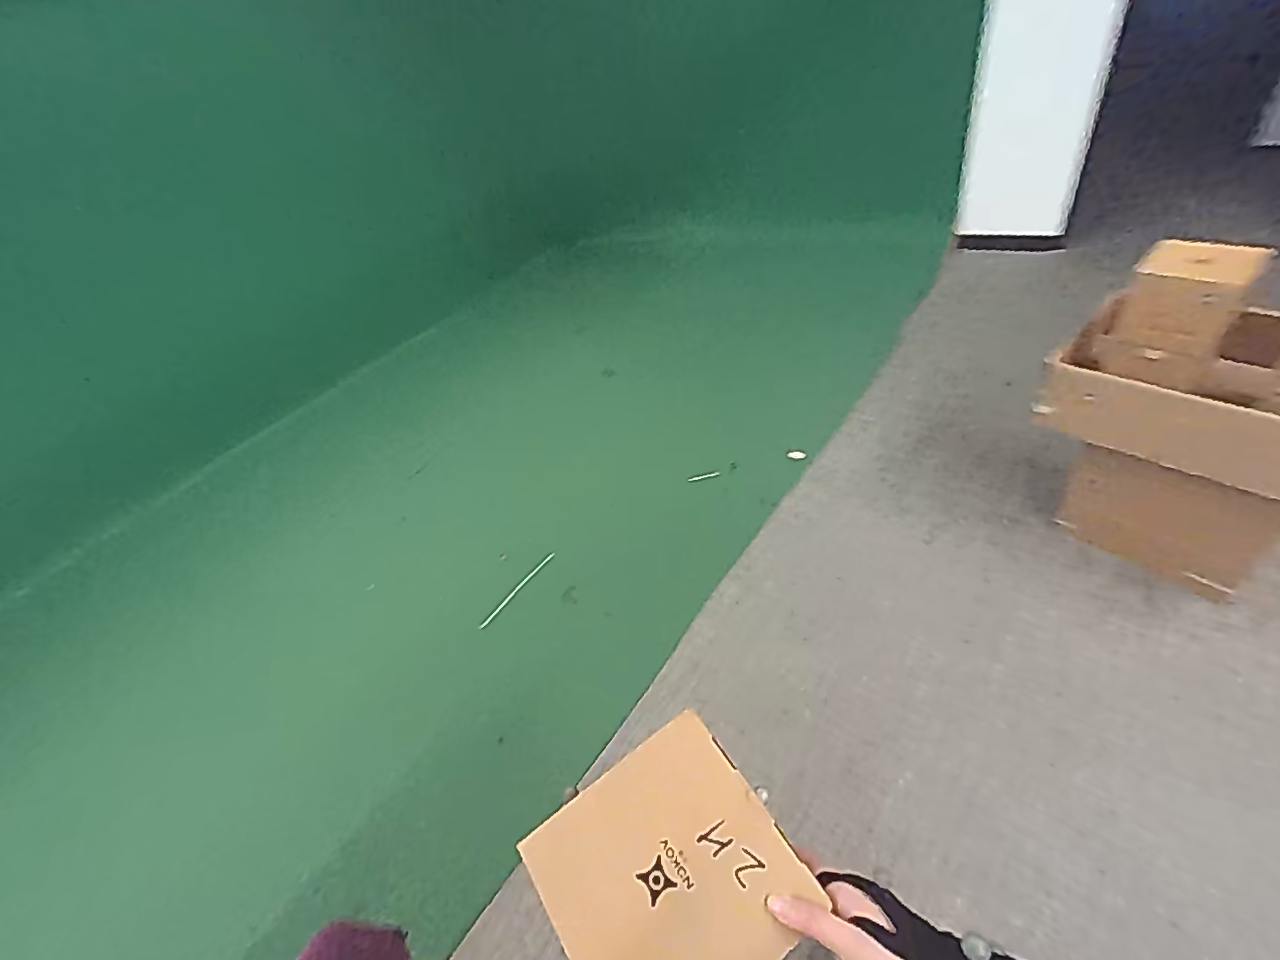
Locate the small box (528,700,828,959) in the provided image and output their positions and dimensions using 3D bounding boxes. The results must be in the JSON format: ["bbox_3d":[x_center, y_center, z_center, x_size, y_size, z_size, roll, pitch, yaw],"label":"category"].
[{"bbox_3d":[0.036,0.328,0.472,0.179,0.176,0.168,-33,59,-10],"label":"small box"}]

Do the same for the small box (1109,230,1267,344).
[{"bbox_3d":[1.173,-0.417,1.173,0.168,0.176,0.179,-40,47,-20],"label":"small box"}]
